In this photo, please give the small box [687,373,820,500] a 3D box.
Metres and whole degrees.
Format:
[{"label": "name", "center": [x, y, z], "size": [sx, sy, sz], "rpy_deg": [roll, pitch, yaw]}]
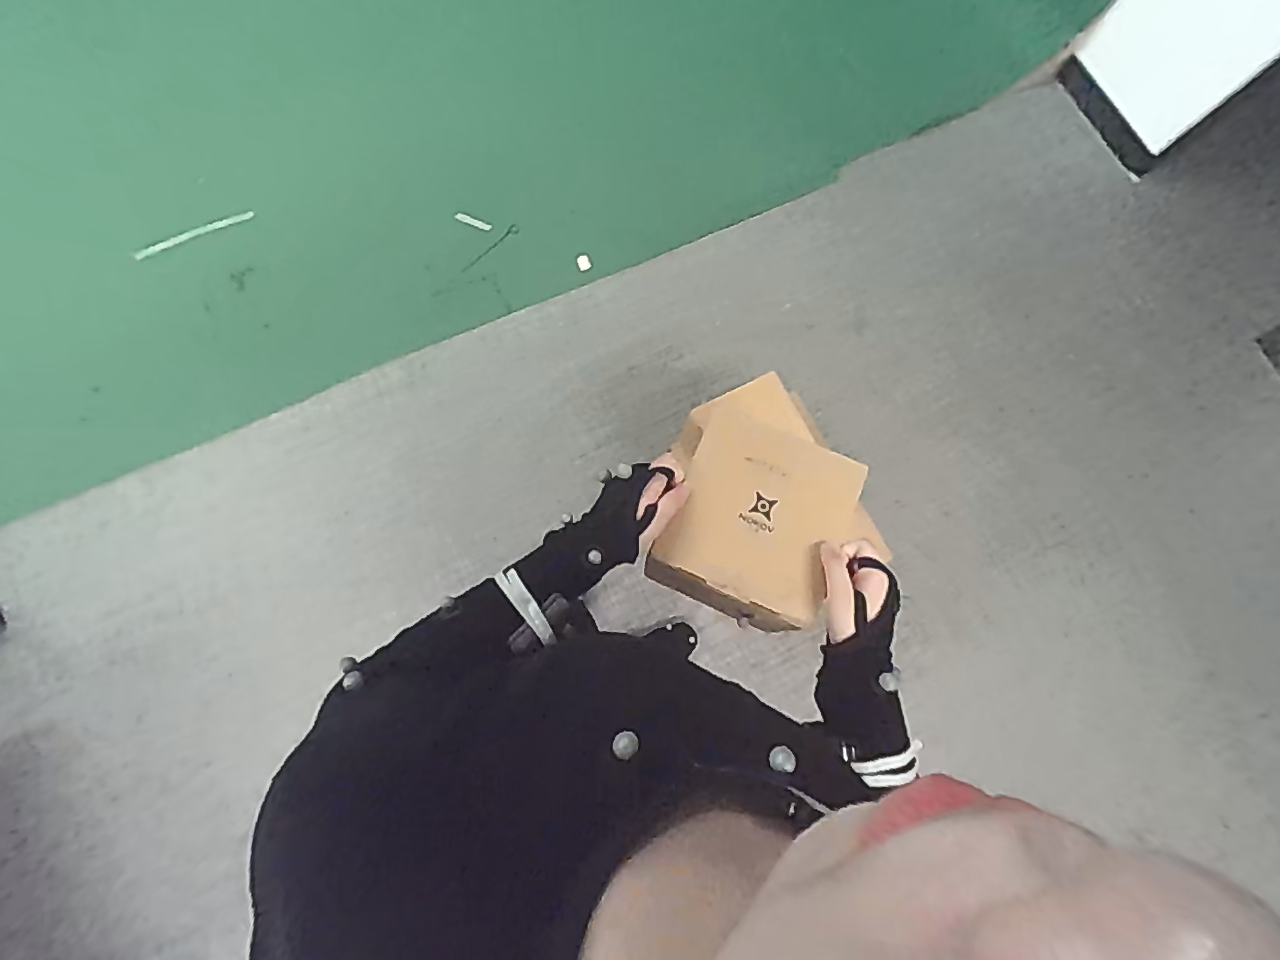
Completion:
[{"label": "small box", "center": [0.205, -0.075, 1.034], "size": [0.179, 0.176, 0.168], "rpy_deg": [-26, 82, -5]}]
